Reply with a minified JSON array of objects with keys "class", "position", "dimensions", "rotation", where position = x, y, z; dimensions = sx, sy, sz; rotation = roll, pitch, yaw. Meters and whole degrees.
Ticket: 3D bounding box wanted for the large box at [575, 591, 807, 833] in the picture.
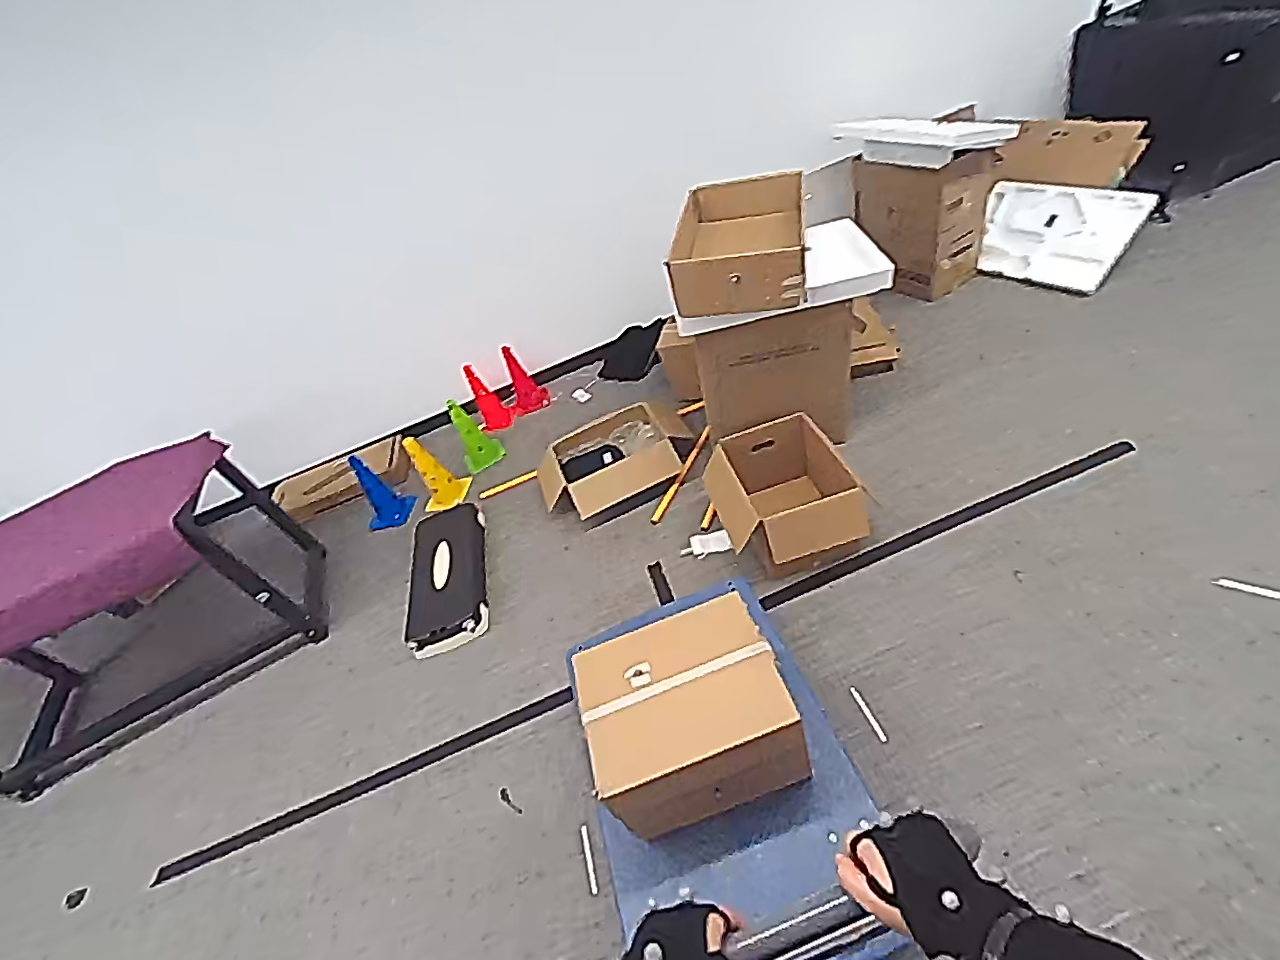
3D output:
[{"class":"large box","position":[0.114,0.523,1.219],"dimensions":[0.408,0.320,0.320],"rotation":[-22,41,0]}]
